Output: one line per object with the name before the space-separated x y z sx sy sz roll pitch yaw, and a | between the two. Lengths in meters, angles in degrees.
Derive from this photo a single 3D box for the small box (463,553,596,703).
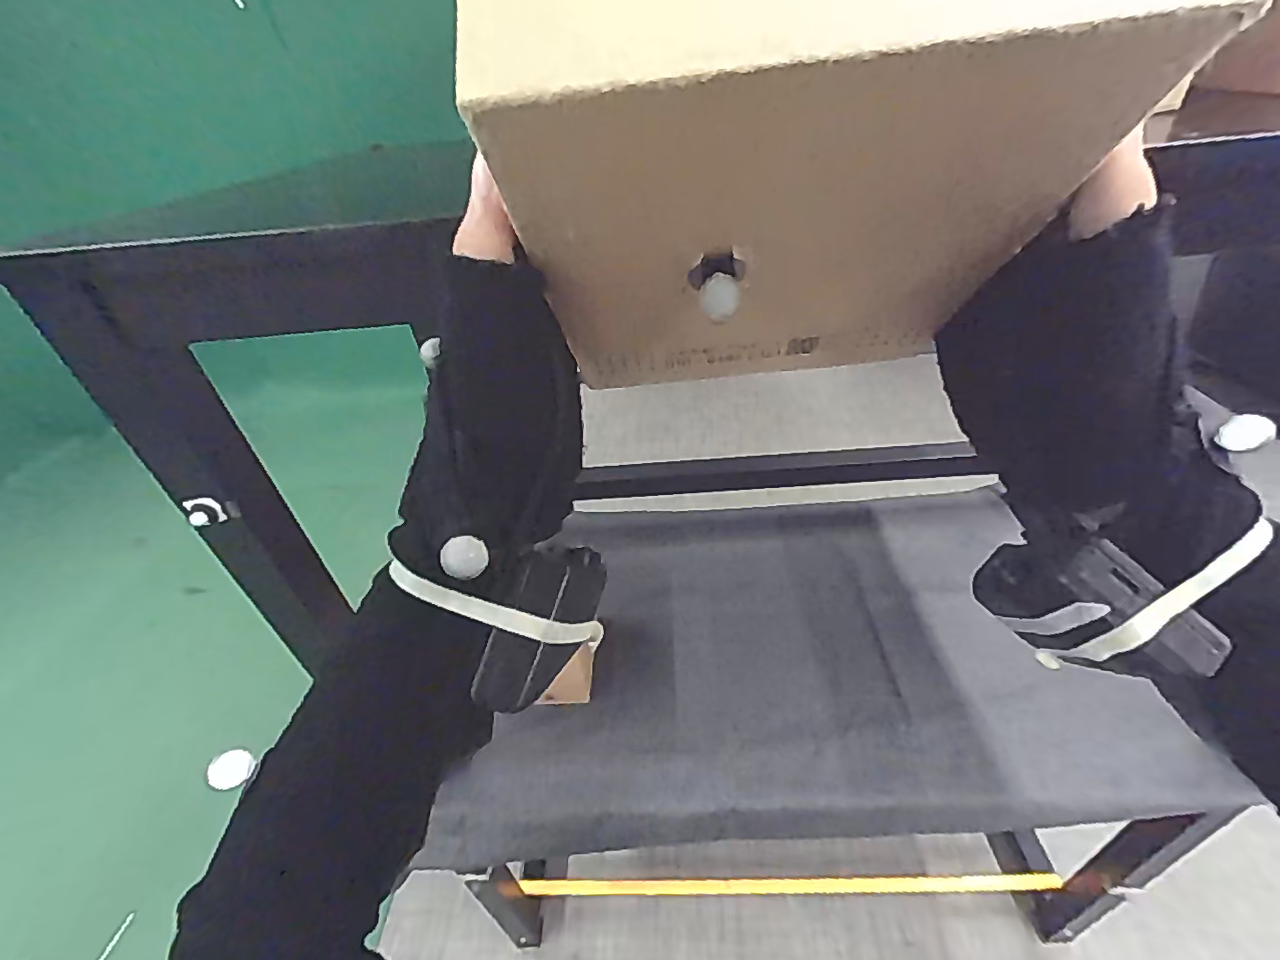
small box | -0.168 0.241 0.889 0.168 0.176 0.179 -3 37 4

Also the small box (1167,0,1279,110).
small box | 0.519 -0.352 0.354 0.168 0.176 0.179 4 37 13
